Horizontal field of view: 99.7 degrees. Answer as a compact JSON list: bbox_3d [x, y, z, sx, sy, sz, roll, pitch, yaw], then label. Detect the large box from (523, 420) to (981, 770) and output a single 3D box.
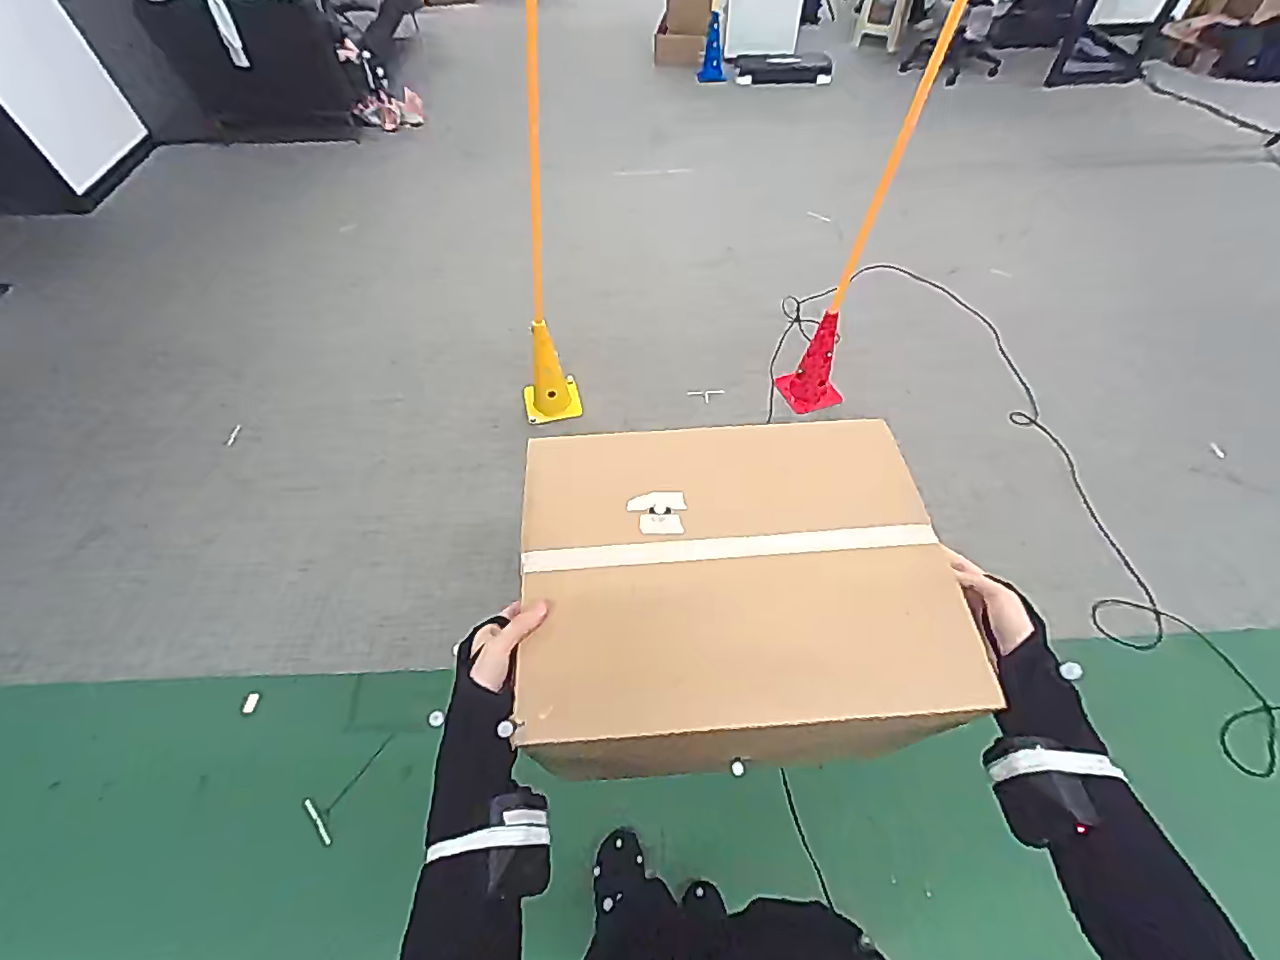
[{"bbox_3d":[0.091,0.155,0.664,0.408,0.320,0.320,-4,55,-1],"label":"large box"}]
